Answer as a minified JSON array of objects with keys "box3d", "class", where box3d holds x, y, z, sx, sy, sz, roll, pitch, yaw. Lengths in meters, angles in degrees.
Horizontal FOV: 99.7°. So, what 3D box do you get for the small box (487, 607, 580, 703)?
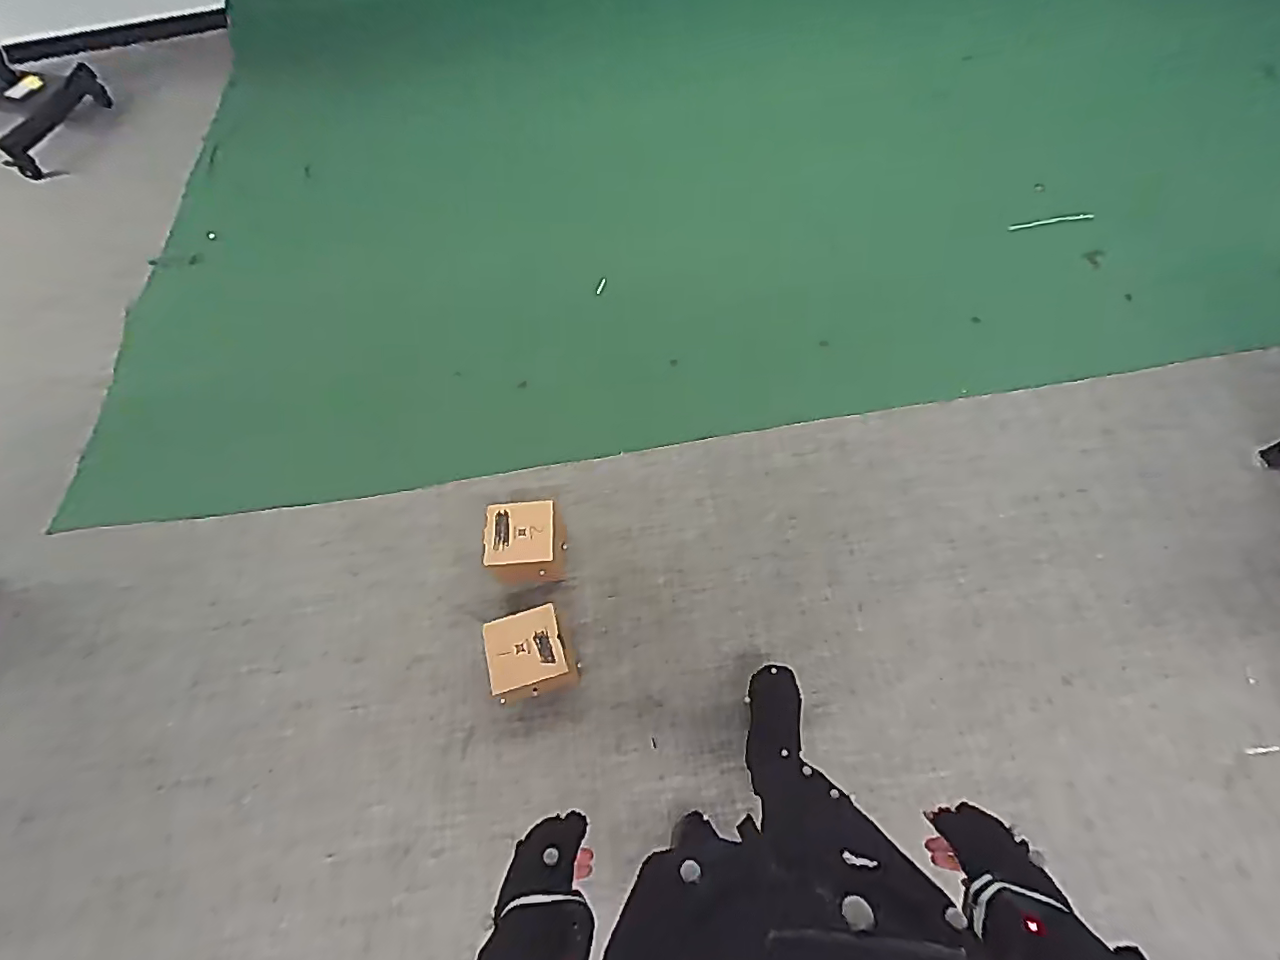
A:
[{"box3d":[-0.249,0.425,1.302,0.179,0.176,0.168,-17,62,-3],"class":"small box"}]
